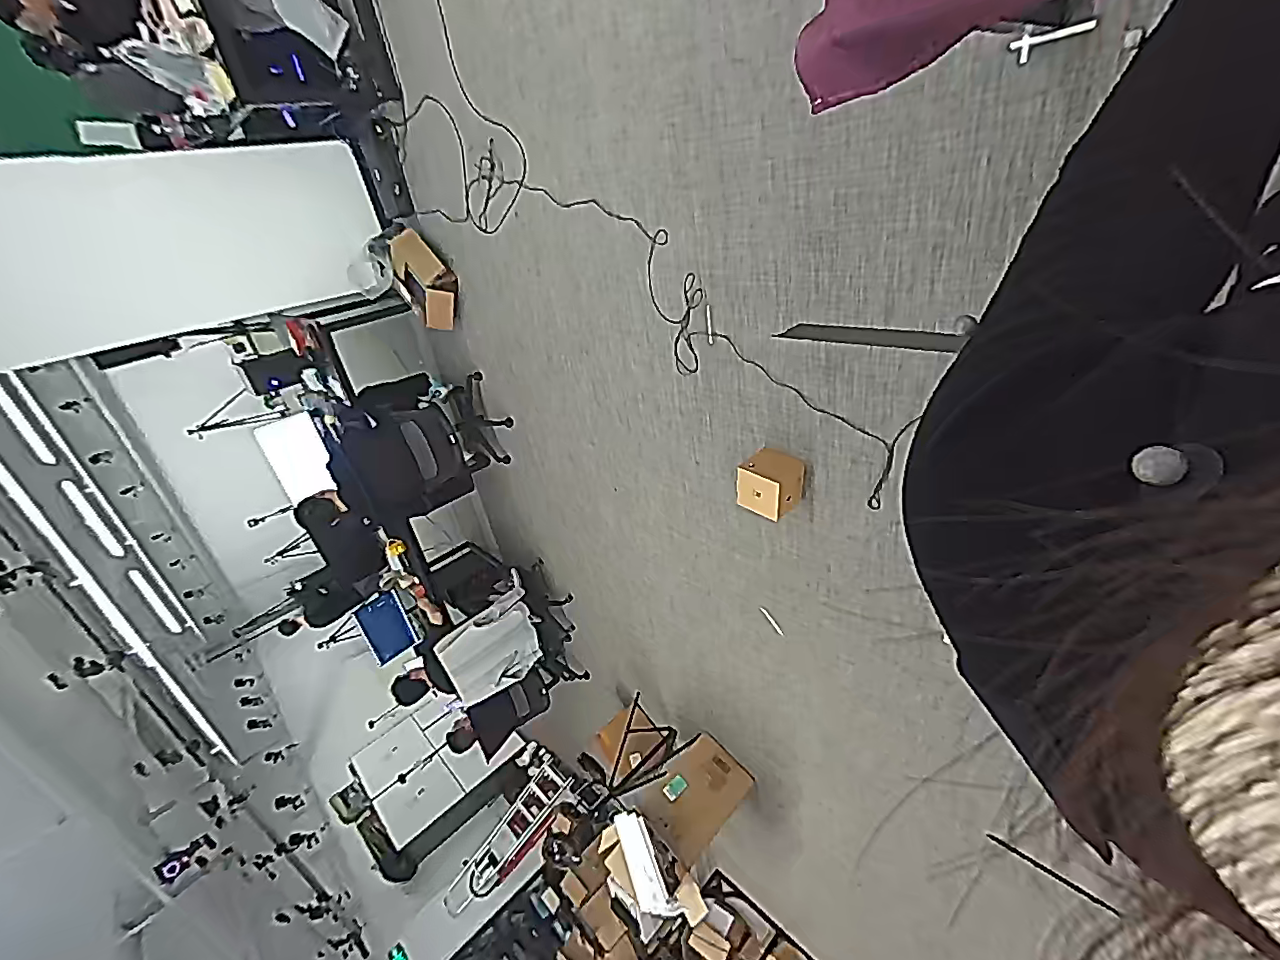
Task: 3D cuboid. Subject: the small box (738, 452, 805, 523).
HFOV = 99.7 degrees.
[{"bbox_3d":[0.469,0.019,1.934,0.179,0.176,0.168,26,135,39],"label":"small box"}]
